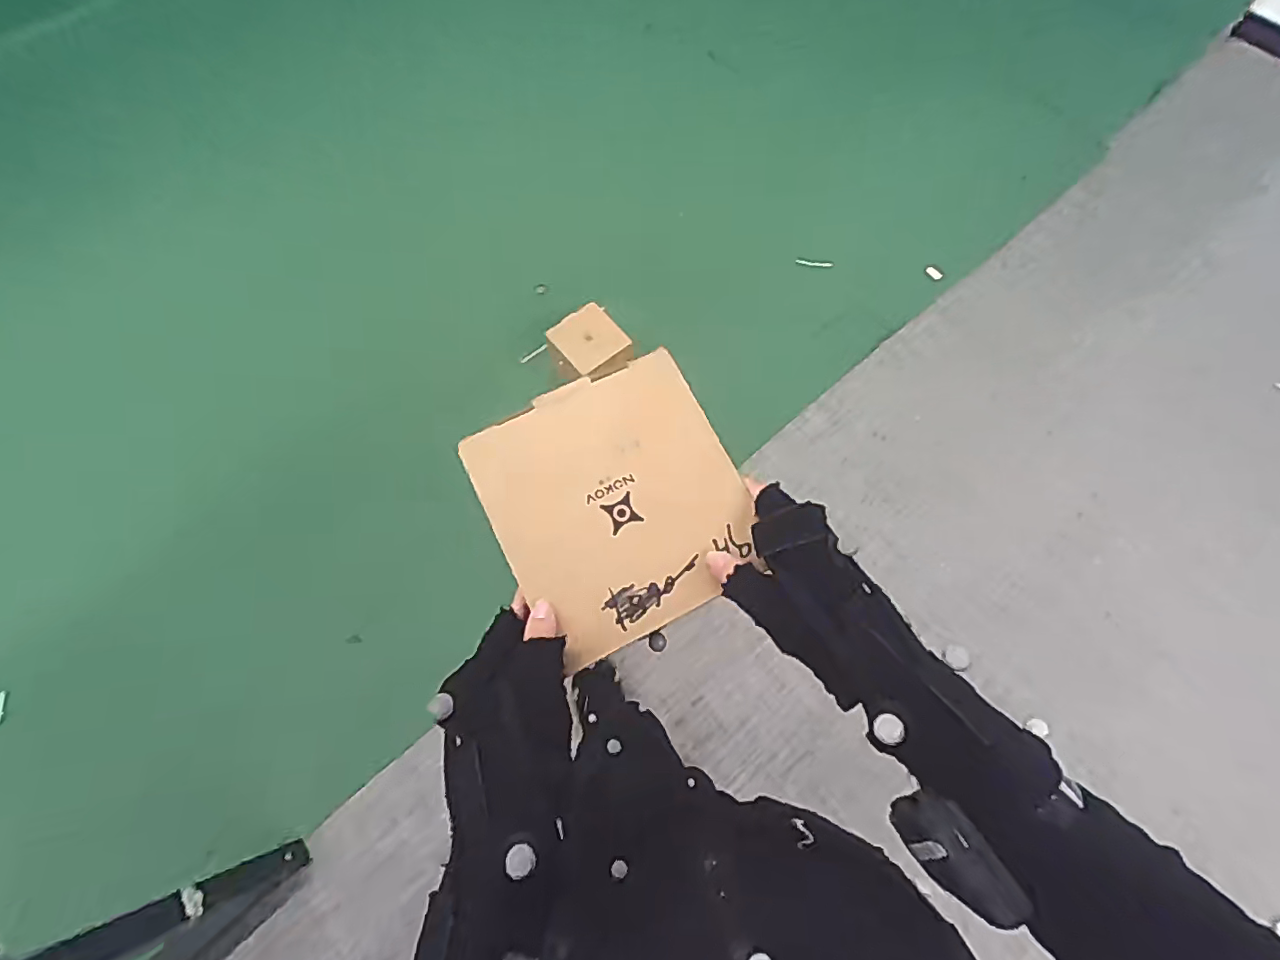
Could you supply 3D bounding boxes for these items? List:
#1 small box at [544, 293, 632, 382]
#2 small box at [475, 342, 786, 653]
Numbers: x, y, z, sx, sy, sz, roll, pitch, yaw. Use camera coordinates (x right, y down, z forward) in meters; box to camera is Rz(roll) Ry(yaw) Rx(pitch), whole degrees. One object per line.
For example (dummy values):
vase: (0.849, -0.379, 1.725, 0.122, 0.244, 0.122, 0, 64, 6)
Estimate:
small box: (-0.137, -0.362, 1.473, 0.168, 0.176, 0.179, -36, 74, -11)
small box: (-0.012, 0.023, 0.449, 0.168, 0.176, 0.179, -25, 79, -6)
